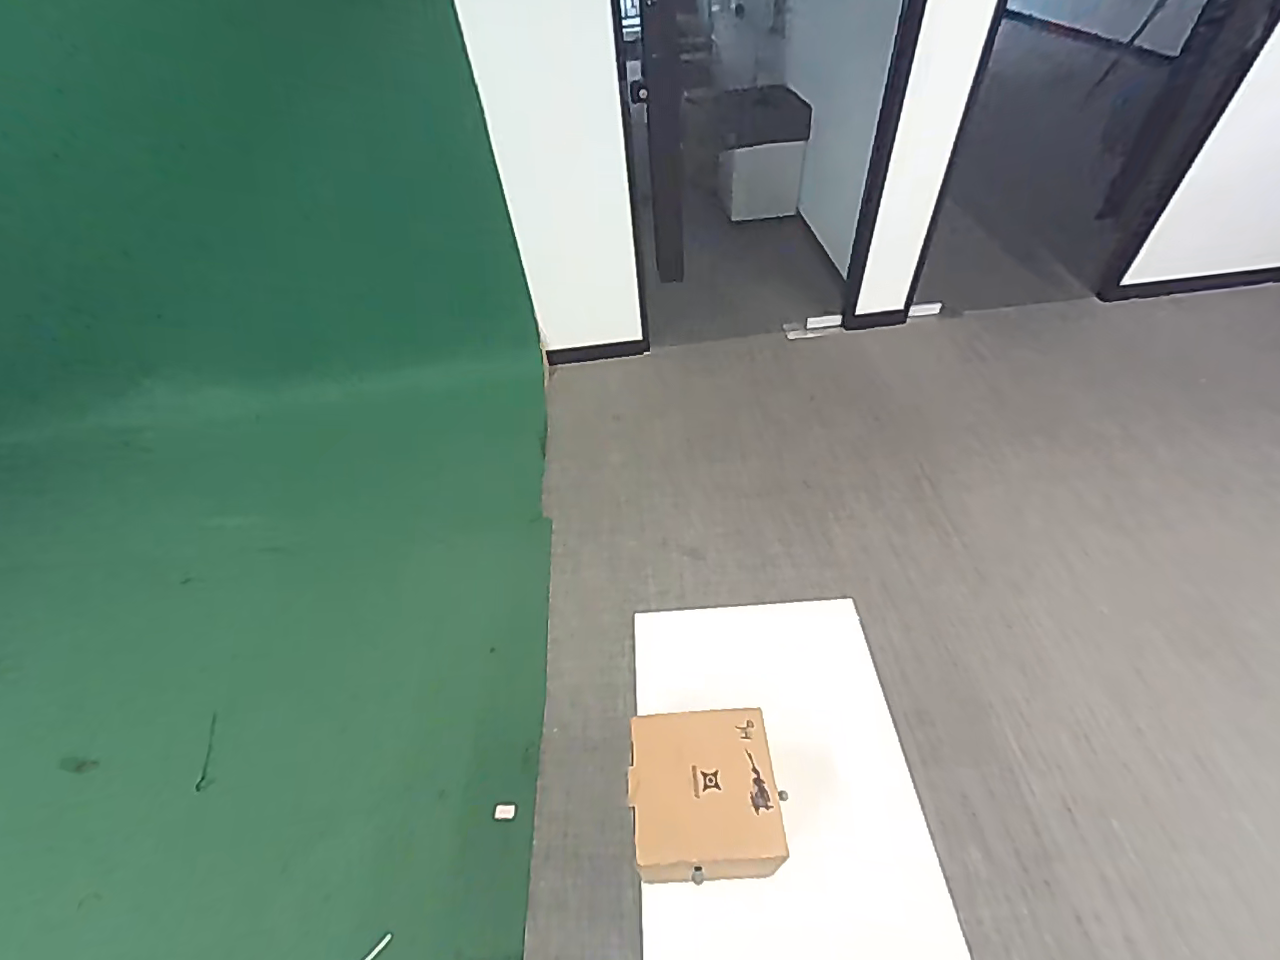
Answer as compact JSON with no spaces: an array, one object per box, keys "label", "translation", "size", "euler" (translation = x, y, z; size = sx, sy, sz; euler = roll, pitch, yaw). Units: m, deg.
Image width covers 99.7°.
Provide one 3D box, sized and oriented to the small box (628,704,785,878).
[{"label":"small box","translation":[0.080,0.413,0.714],"size":[0.179,0.176,0.168],"euler":[-5,48,2]}]
